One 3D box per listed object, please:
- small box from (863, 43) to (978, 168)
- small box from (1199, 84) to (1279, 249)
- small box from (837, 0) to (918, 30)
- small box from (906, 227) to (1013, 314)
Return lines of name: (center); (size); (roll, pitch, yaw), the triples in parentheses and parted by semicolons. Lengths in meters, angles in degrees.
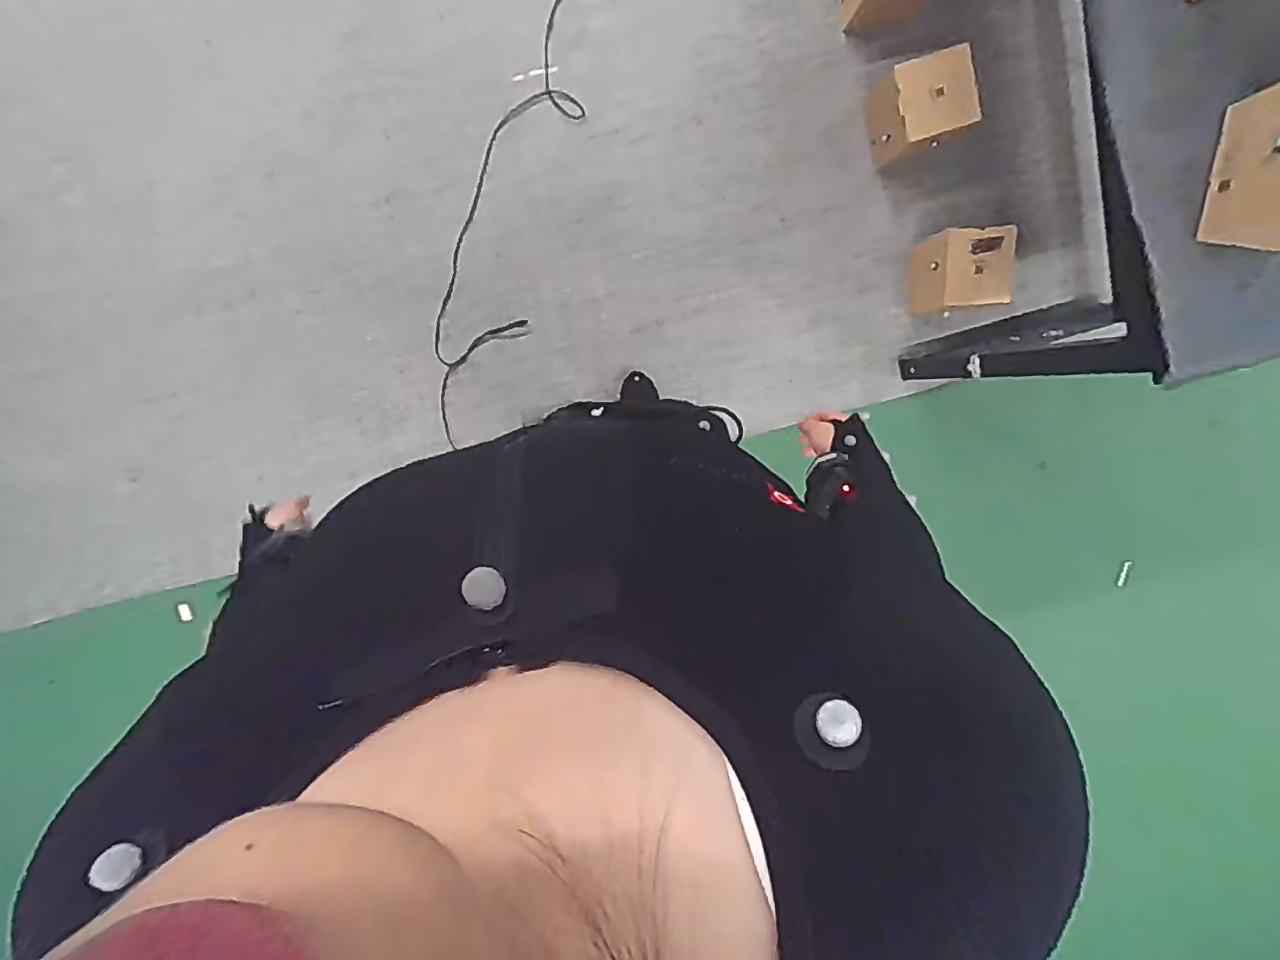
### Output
small box: (0.653, -0.874, 1.282); (0.179, 0.176, 0.168); (-18, 100, 0)
small box: (0.828, -0.380, 0.631); (0.179, 0.176, 0.168); (5, 99, -6)
small box: (0.557, -1.173, 1.229); (0.179, 0.176, 0.168); (-11, 100, -1)
small box: (0.788, -0.516, 1.348); (0.168, 0.176, 0.179); (-3, 101, -2)
